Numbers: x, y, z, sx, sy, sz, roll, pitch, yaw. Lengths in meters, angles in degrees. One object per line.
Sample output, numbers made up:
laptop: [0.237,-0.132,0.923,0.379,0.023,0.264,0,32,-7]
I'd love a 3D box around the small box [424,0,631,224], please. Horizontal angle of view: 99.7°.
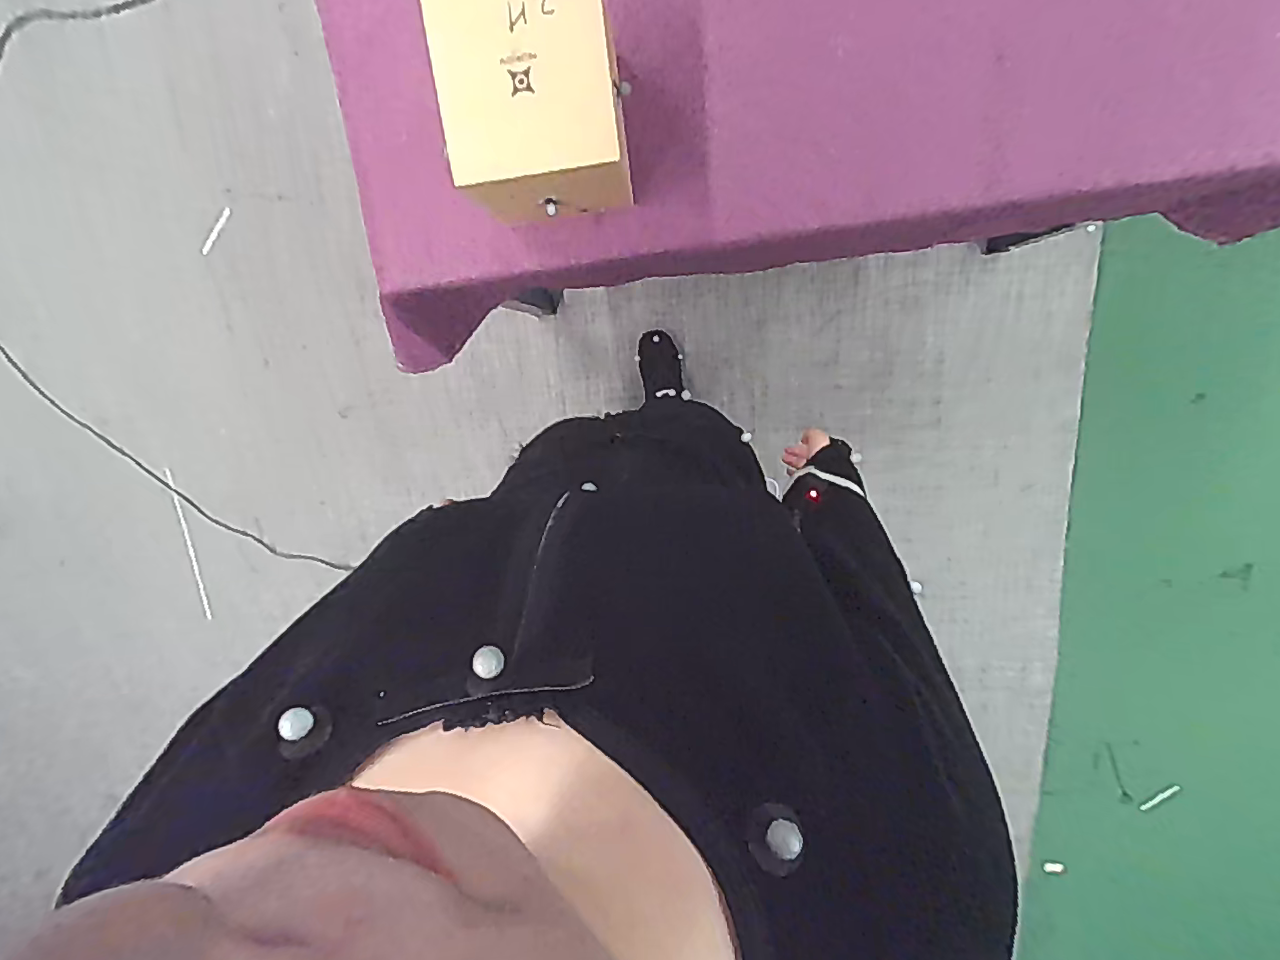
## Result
small box: [-0.104,-0.390,0.582,0.168,0.176,0.179,-6,101,5]
